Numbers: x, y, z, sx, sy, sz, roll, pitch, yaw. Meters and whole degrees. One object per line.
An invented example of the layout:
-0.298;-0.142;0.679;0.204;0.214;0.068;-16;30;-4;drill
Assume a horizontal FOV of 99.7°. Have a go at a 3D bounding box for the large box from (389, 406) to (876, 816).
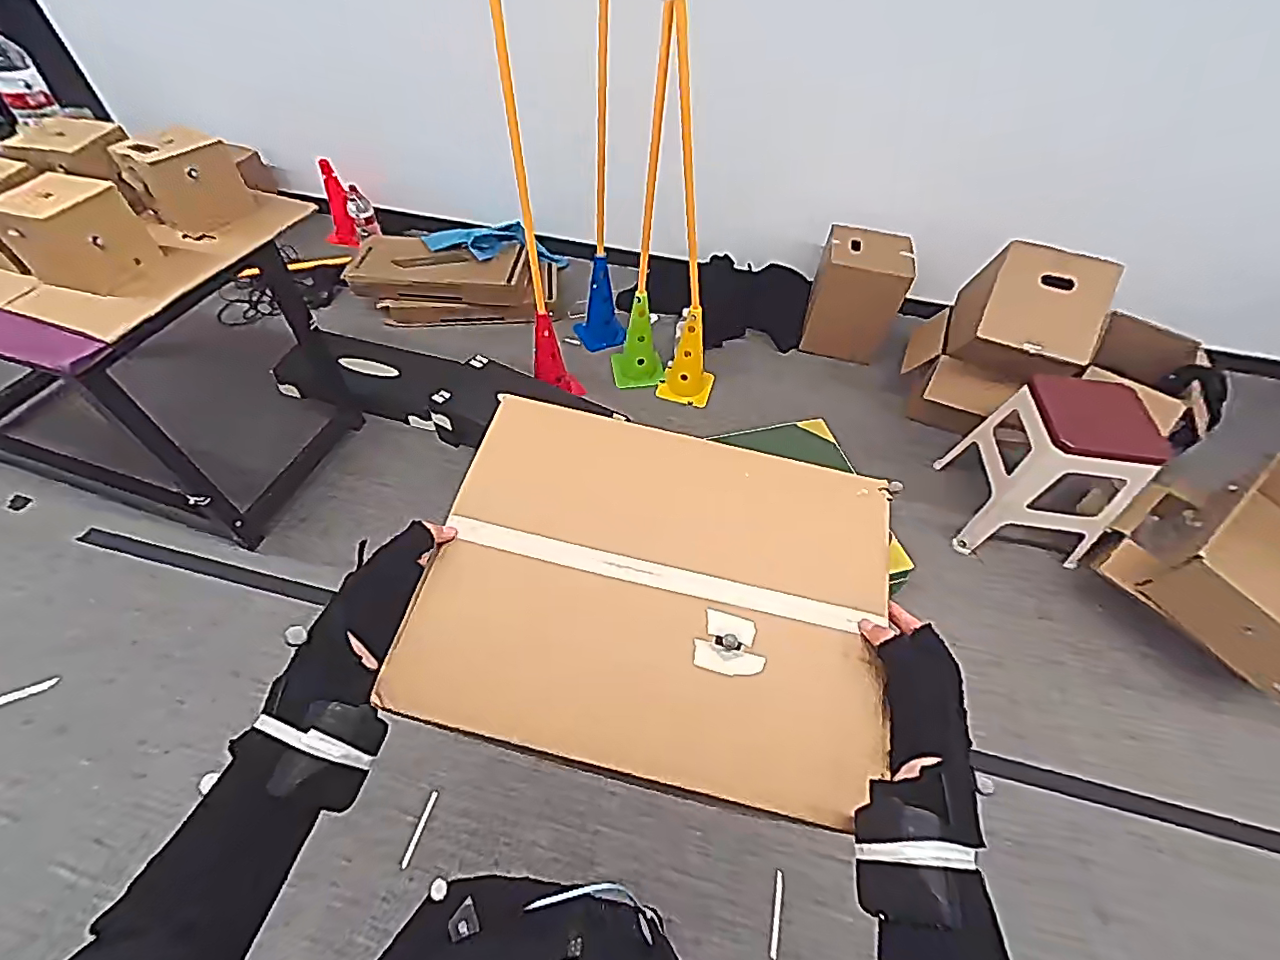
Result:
0.006;0.163;0.627;0.408;0.320;0.320;13;61;2;large box
